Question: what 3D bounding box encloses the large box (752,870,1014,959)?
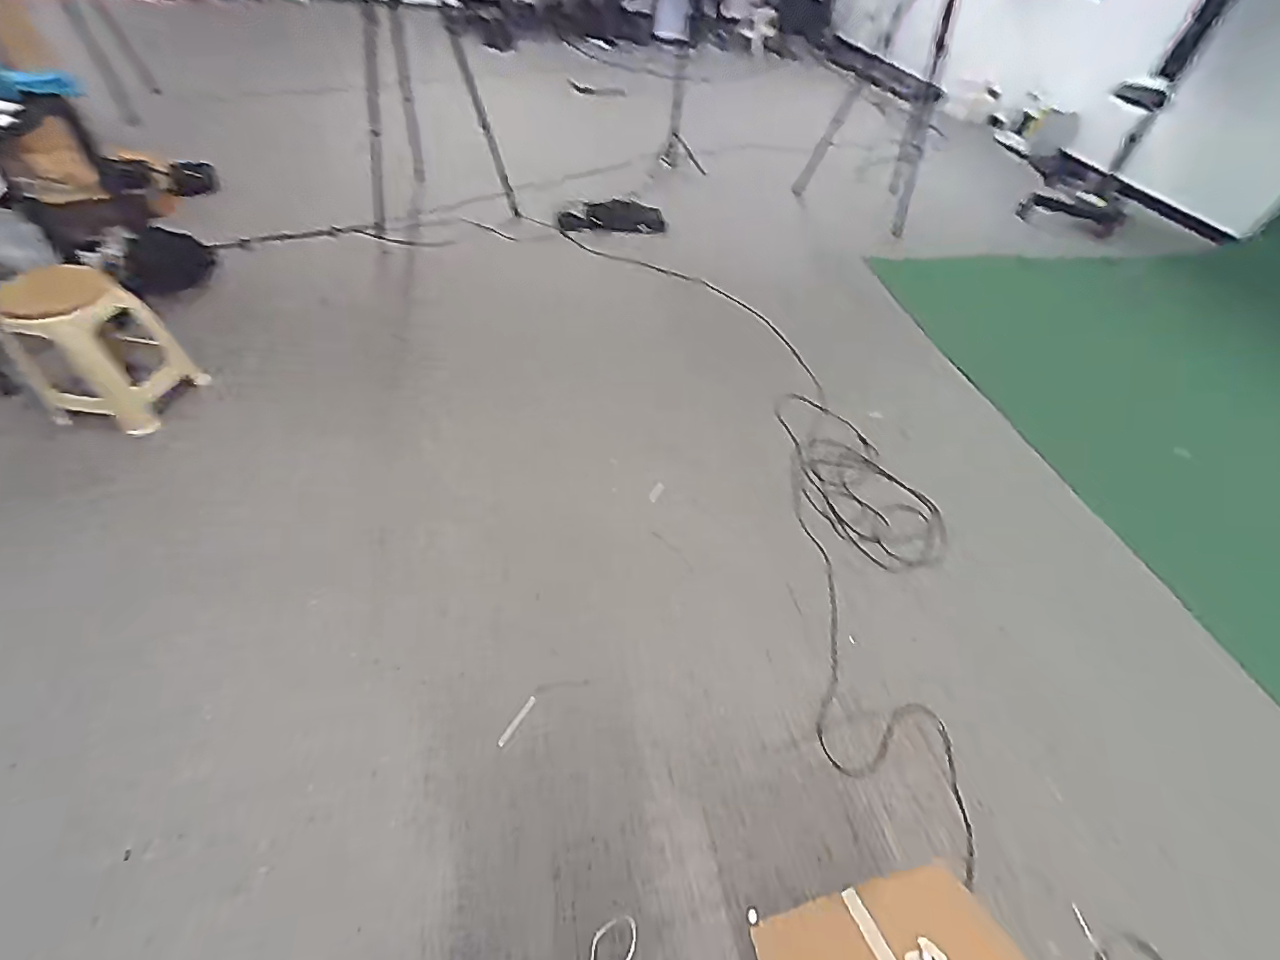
[{"bbox_3d":[0.369,0.792,0.634,0.320,0.408,0.320,-14,95,-3],"label":"large box"}]
